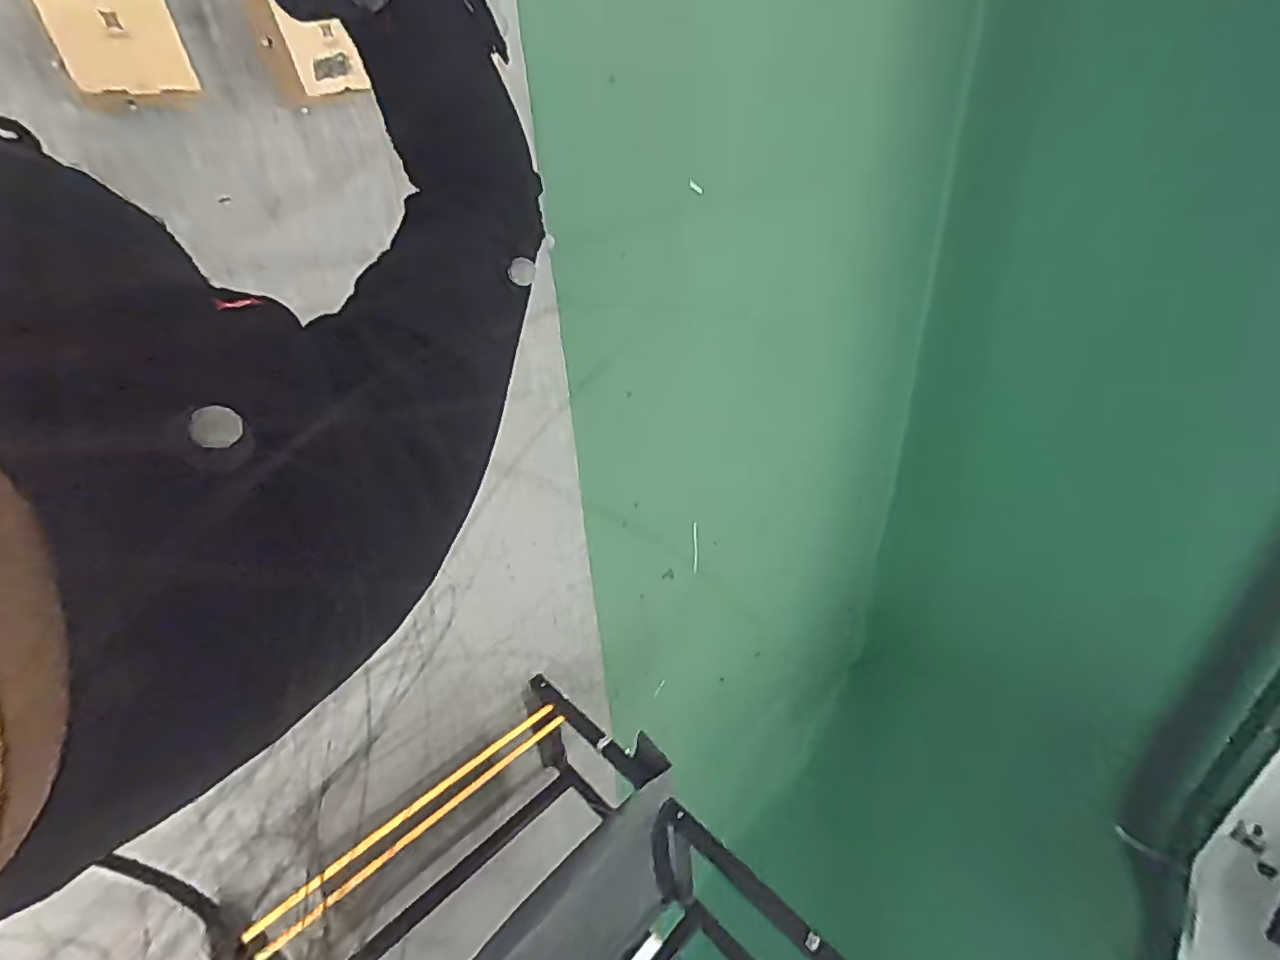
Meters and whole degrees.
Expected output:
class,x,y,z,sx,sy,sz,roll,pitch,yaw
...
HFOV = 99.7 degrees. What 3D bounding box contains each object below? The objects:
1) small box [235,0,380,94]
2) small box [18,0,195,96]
class,x,y,z,sx,sy,sz,roll,pitch,yaw
small box,-0.649,-0.874,1.058,0.168,0.176,0.179,-36,131,-32
small box,-0.875,-0.742,0.877,0.168,0.176,0.179,-31,130,-34
